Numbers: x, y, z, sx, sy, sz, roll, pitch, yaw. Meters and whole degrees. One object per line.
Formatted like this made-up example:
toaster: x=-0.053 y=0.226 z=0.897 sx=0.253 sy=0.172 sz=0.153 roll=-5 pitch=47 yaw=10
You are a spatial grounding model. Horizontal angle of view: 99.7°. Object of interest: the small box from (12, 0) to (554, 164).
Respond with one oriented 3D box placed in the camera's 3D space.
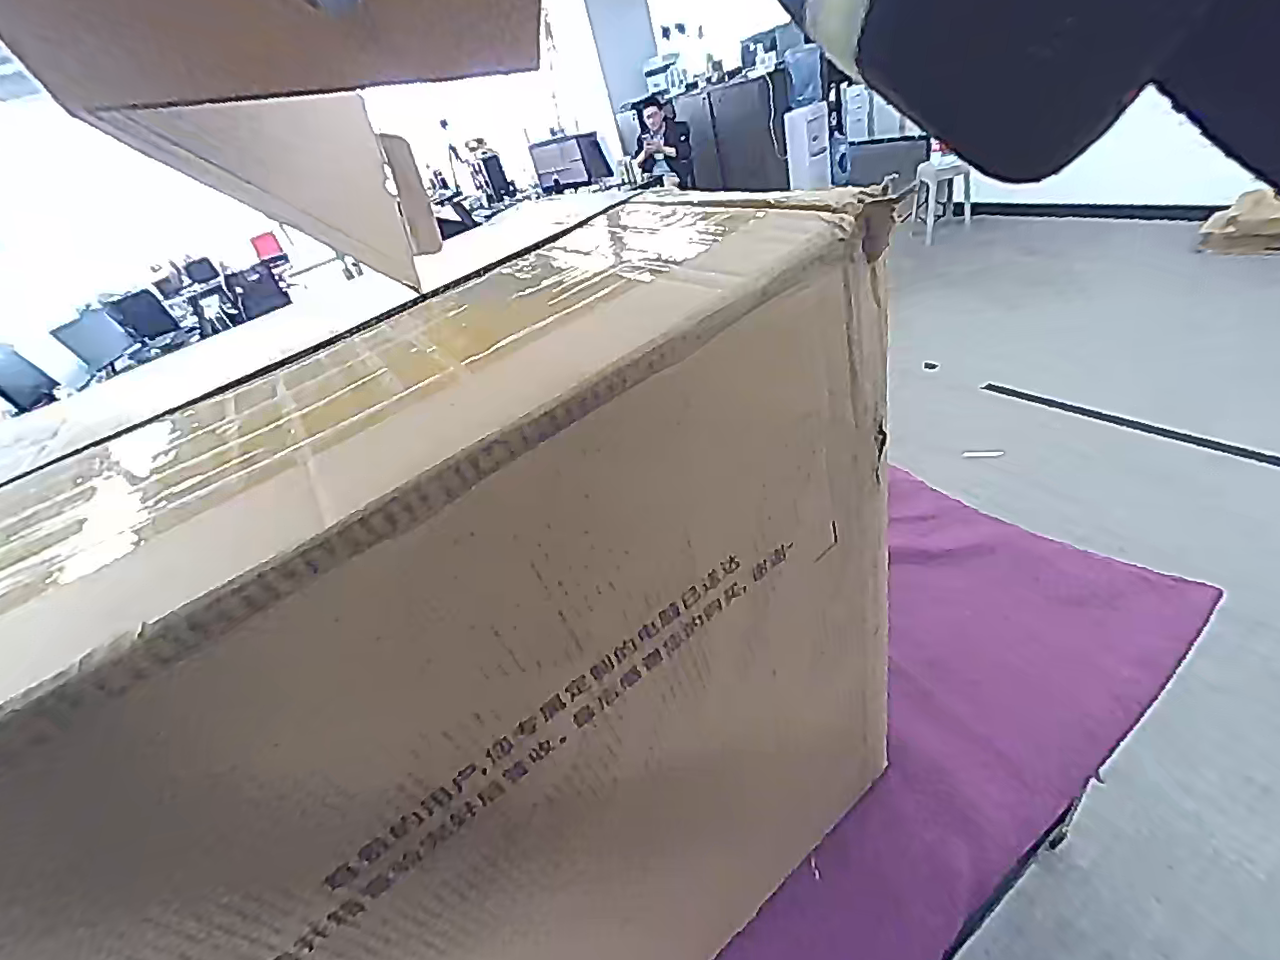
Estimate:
small box: x=-0.130 y=-0.240 z=0.164 sx=0.179 sy=0.176 sz=0.168 roll=-17 pitch=78 yaw=-16
